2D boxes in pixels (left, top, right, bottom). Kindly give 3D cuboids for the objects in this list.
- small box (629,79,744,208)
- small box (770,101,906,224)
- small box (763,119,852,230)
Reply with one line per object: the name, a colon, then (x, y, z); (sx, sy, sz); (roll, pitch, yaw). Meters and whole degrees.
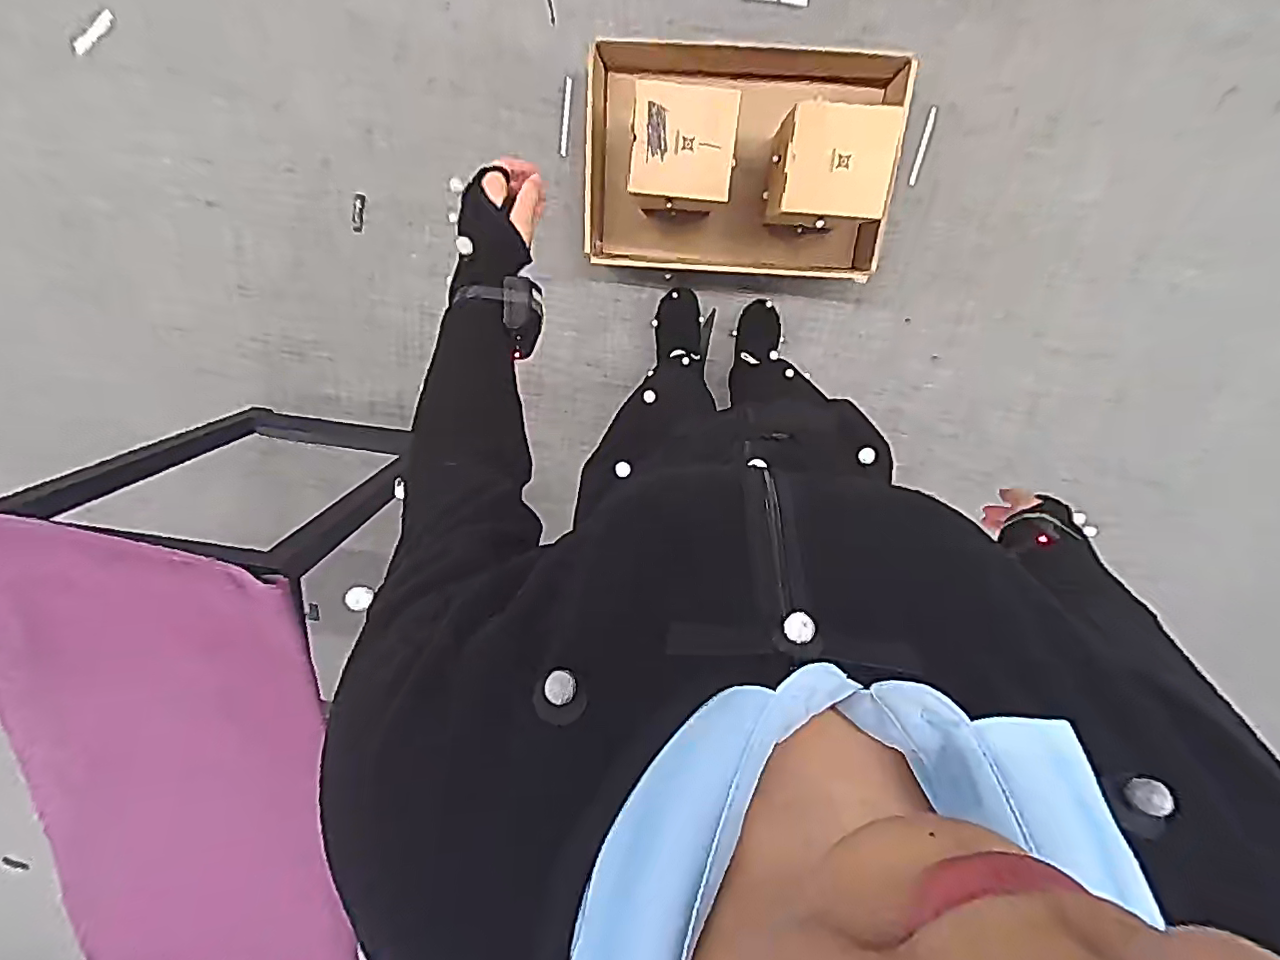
small box: (0.079, -0.596, 0.980); (0.179, 0.176, 0.168); (6, 113, -1)
small box: (0.344, -0.563, 0.977); (0.179, 0.176, 0.168); (6, 113, 3)
small box: (0.359, -0.625, 1.127); (0.168, 0.176, 0.179); (6, 111, 2)
